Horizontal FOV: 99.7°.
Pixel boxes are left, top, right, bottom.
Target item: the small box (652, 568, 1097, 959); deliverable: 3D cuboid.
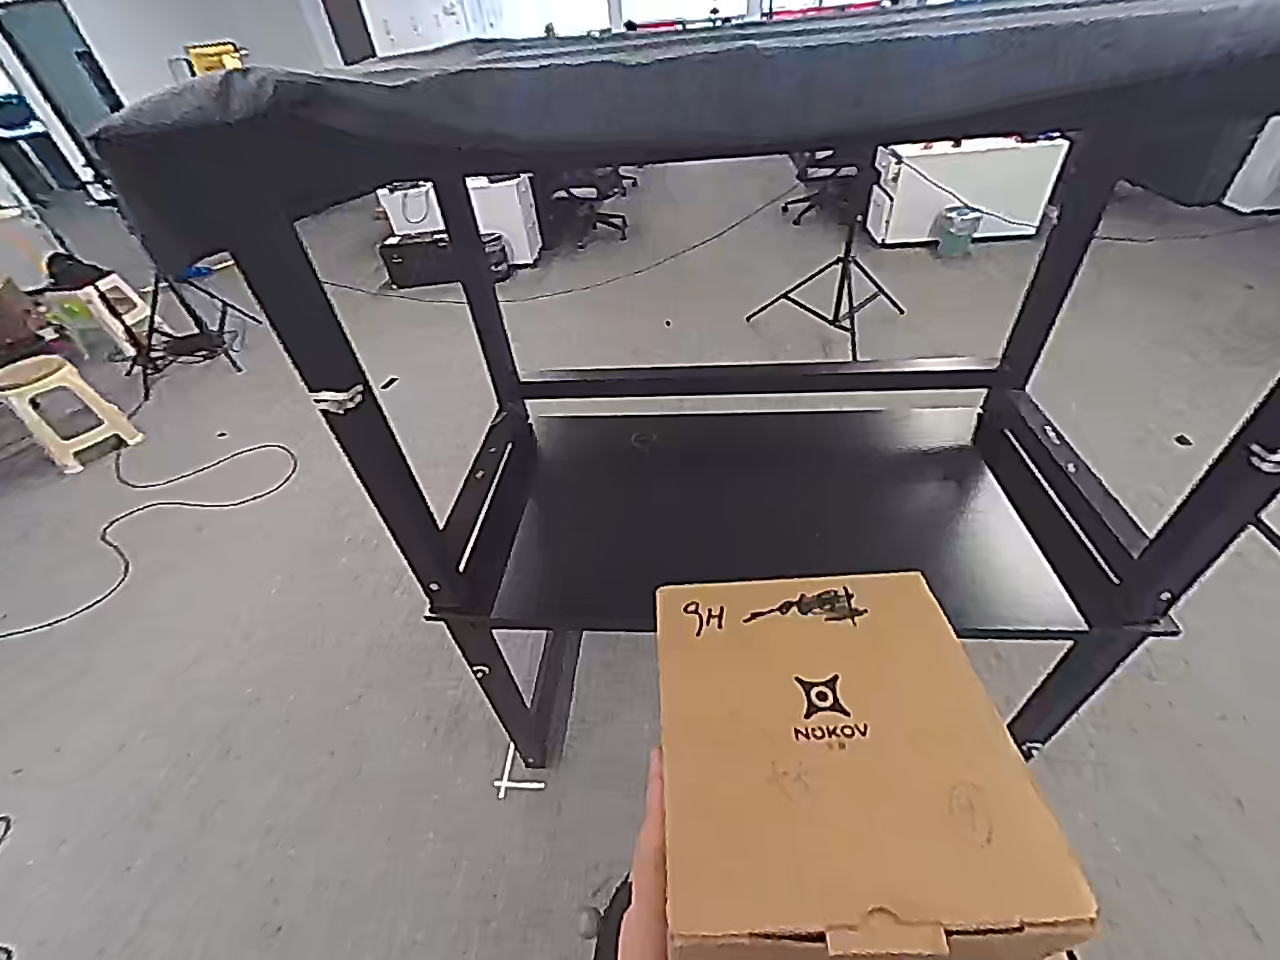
[{"bbox_3d":[0.095,0.175,0.317,0.168,0.176,0.179,-3,40,1],"label":"small box"}]
